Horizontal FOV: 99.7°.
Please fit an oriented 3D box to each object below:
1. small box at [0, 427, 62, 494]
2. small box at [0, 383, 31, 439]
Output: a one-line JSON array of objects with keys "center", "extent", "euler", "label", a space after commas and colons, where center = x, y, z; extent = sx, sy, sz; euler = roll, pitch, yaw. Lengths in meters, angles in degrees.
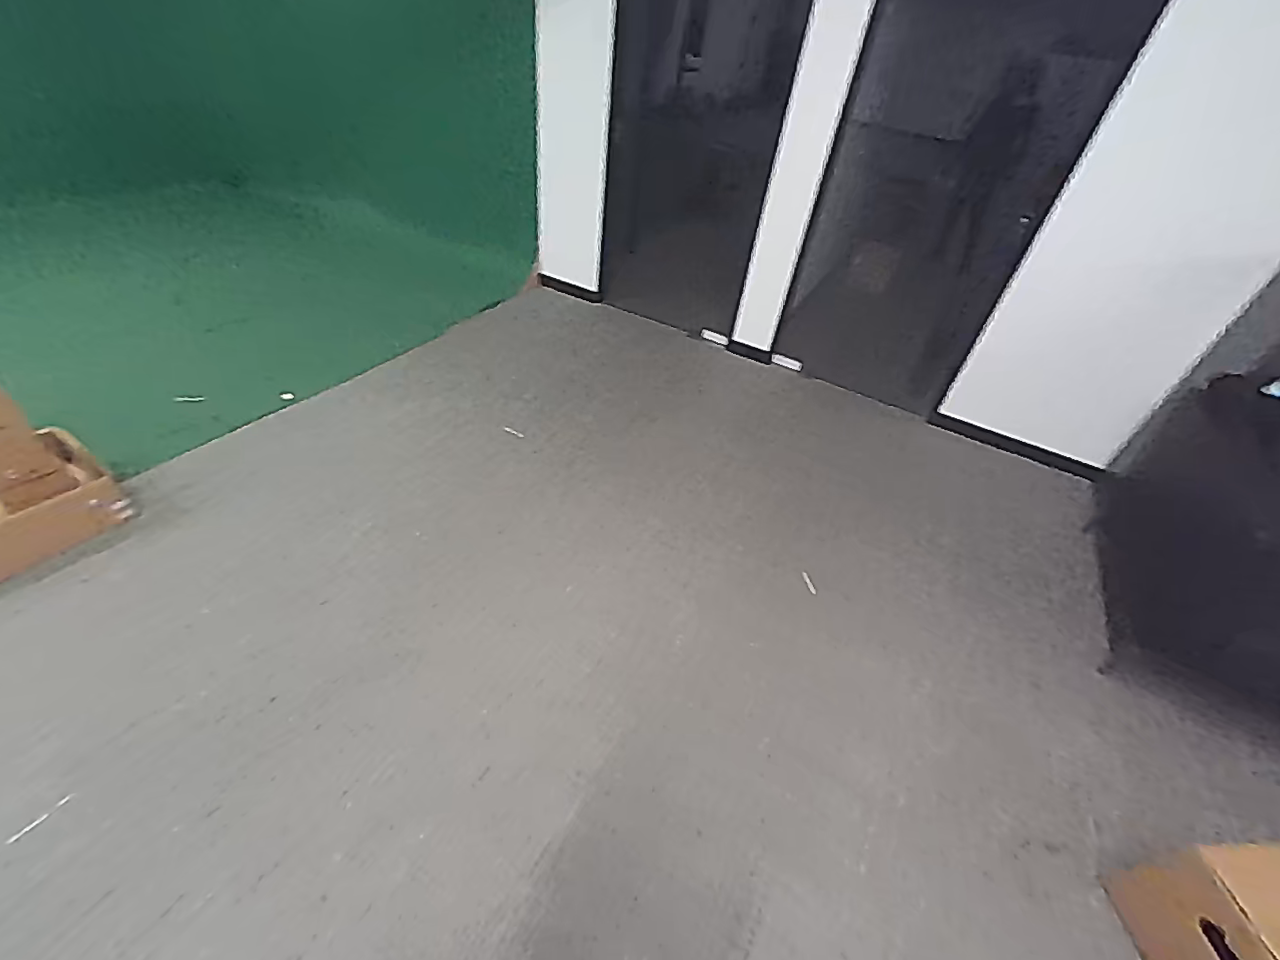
[{"center": [-1.921, -0.088, 1.625], "extent": [0.179, 0.176, 0.168], "euler": [29, 45, 19], "label": "small box"}, {"center": [-1.899, -0.210, 1.517], "extent": [0.179, 0.176, 0.168], "euler": [26, 44, 19], "label": "small box"}]
